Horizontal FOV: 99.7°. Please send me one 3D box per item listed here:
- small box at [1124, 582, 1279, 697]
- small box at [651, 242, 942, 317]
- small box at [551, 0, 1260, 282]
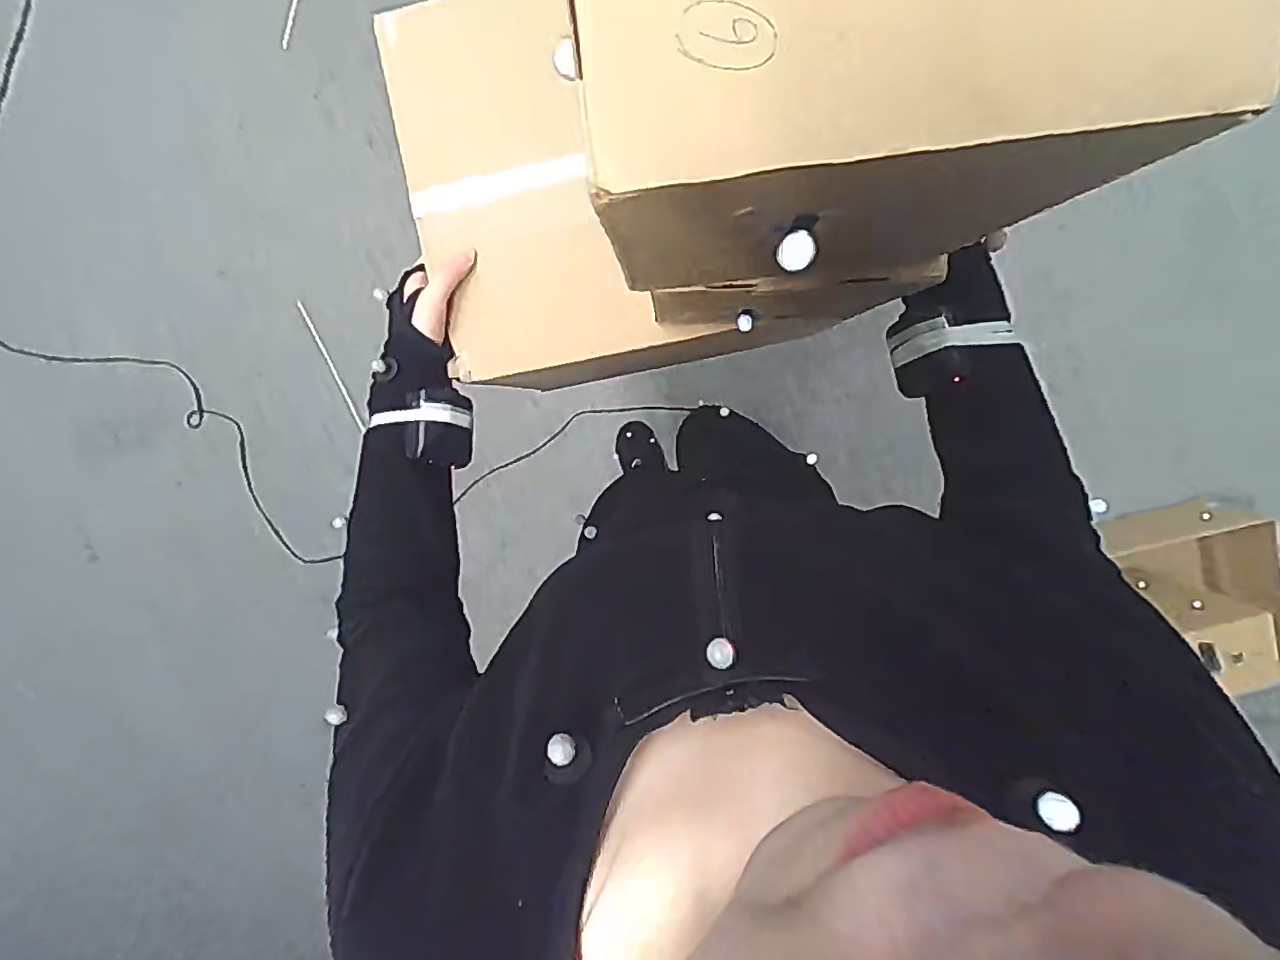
[{"bbox_3d":[1.222,0.345,1.194,0.179,0.176,0.168,-15,98,4],"label":"small box"},{"bbox_3d":[0.088,-0.211,0.368,0.168,0.176,0.179,0,102,3],"label":"small box"},{"bbox_3d":[0.066,-0.179,0.207,0.179,0.176,0.168,-4,102,5],"label":"small box"}]
